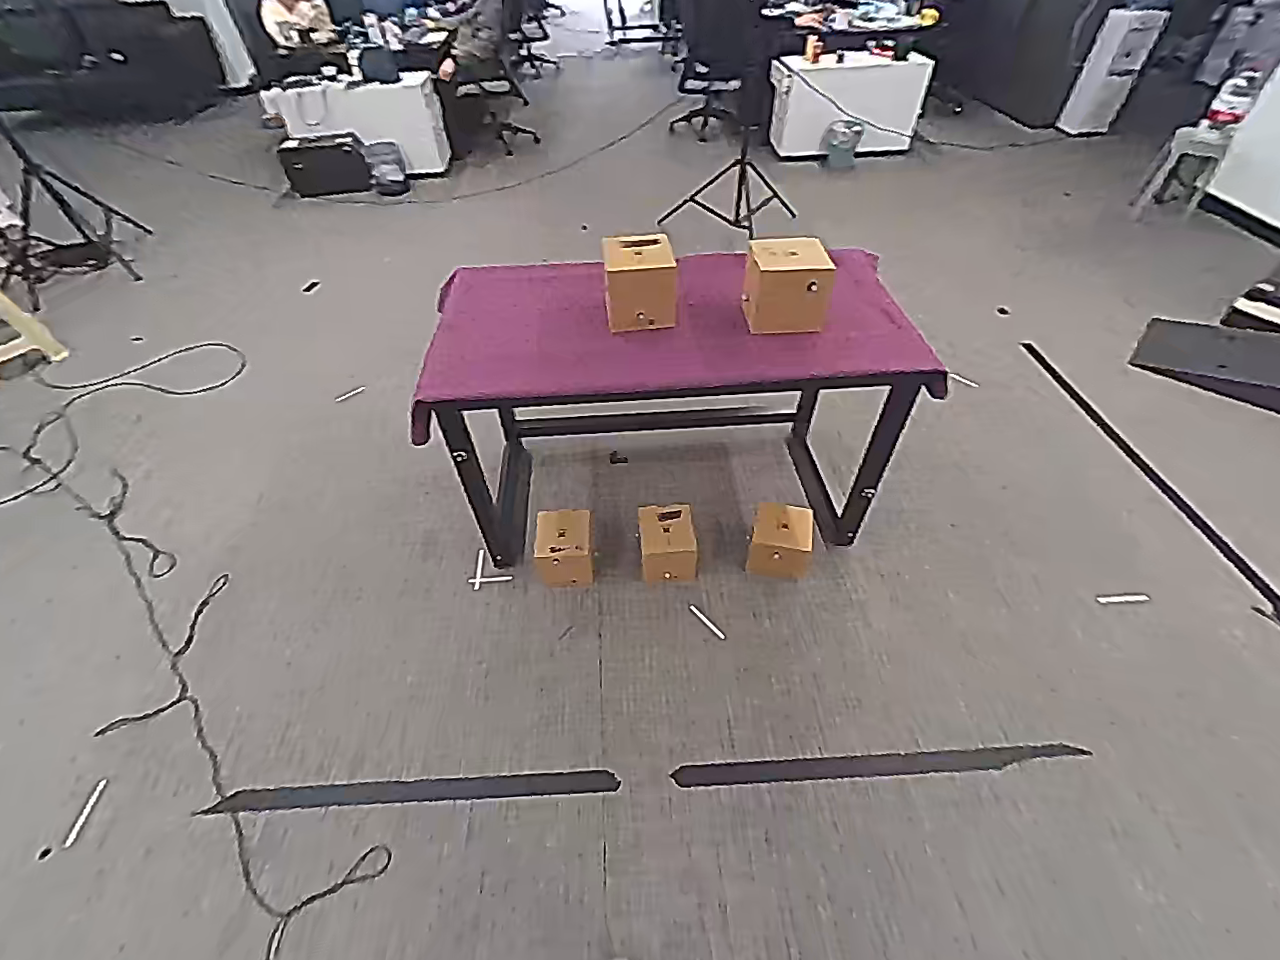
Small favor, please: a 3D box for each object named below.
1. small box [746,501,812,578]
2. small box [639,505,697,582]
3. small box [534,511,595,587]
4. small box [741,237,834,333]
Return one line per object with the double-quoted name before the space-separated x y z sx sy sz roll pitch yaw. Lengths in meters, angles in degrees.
"small box" 0.440 0.192 1.716 0.179 0.176 0.168 8 49 11
"small box" 0.083 0.203 1.716 0.168 0.176 0.179 -5 49 -2
"small box" -0.233 0.219 1.714 0.168 0.176 0.179 -2 46 0
"small box" 0.357 -0.483 1.344 0.179 0.176 0.168 -3 47 0
